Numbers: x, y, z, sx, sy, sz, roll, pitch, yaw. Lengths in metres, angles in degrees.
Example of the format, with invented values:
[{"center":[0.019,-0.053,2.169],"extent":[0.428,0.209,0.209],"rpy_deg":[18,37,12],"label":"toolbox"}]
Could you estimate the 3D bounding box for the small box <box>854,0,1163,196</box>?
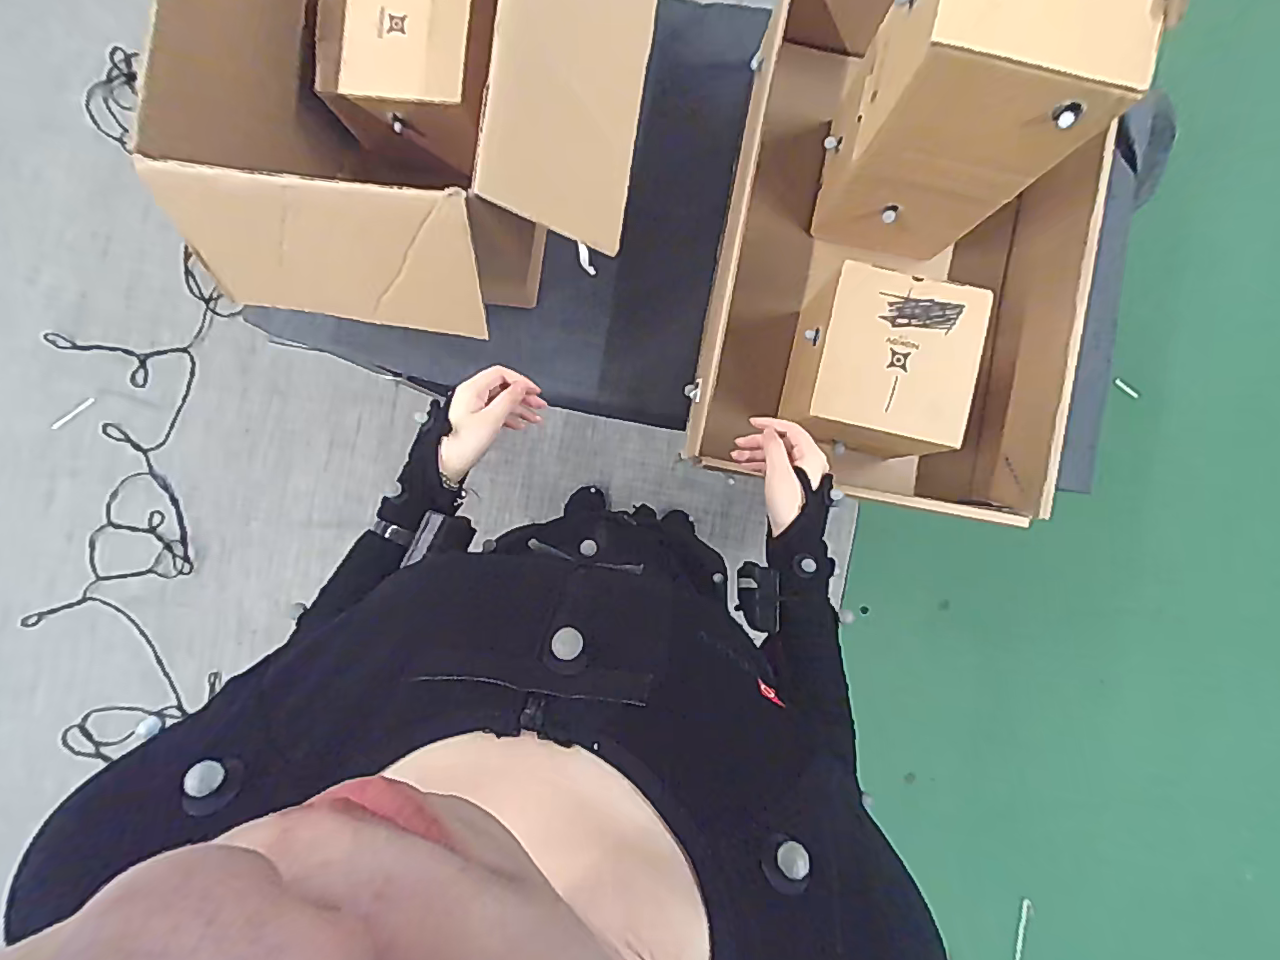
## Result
[{"center":[0.325,-0.396,0.502],"extent":[0.179,0.176,0.168],"rpy_deg":[13,91,0],"label":"small box"}]
